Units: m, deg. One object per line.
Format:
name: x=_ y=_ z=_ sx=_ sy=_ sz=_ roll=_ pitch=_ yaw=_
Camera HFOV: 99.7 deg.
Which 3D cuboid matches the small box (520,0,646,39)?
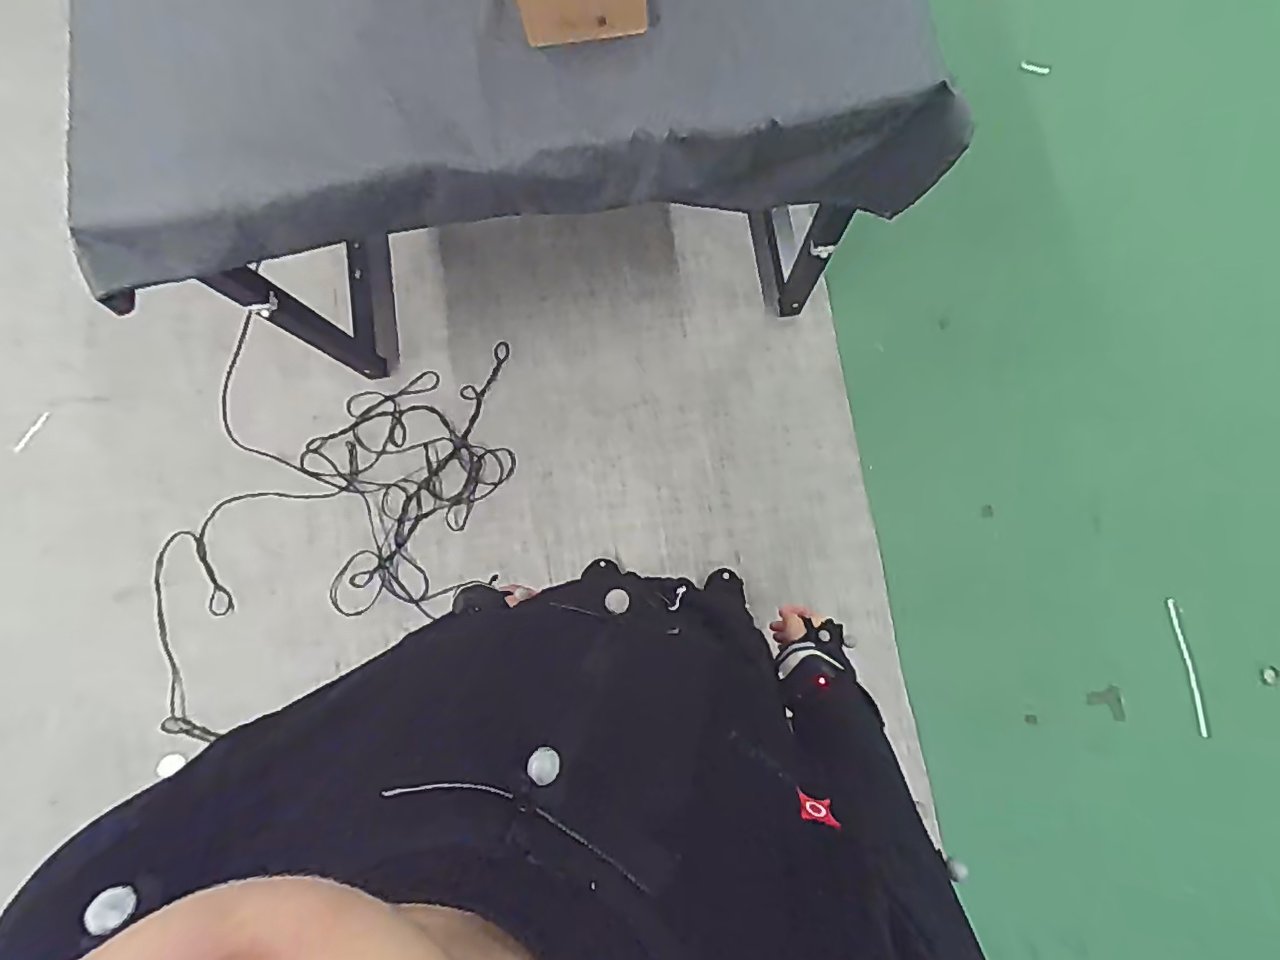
small box: x=-0.081 y=-0.699 z=0.679 sx=0.168 sy=0.176 sz=0.179 roll=-6 pitch=81 yaw=1
